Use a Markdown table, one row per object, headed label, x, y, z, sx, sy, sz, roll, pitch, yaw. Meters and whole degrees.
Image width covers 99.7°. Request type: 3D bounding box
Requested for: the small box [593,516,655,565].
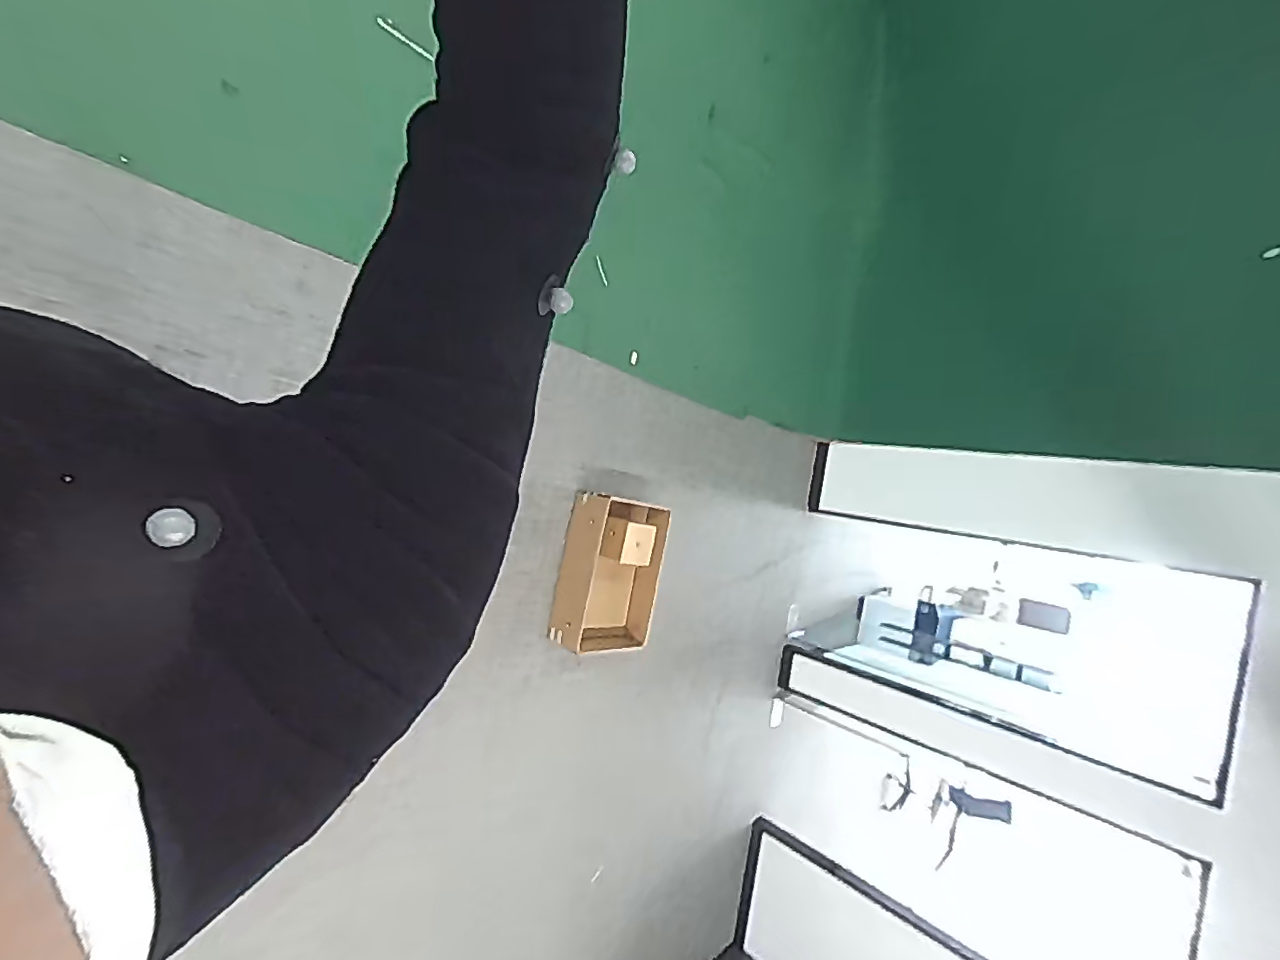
| label | x | y | z | sx | sy | sz | roll | pitch | yaw |
| --- | --- | --- | --- | --- | --- | --- | --- | --- | --- |
| small box | -0.068 | 0.247 | 2.215 | 0.179 | 0.176 | 0.168 | 13 | 87 | -48 |
